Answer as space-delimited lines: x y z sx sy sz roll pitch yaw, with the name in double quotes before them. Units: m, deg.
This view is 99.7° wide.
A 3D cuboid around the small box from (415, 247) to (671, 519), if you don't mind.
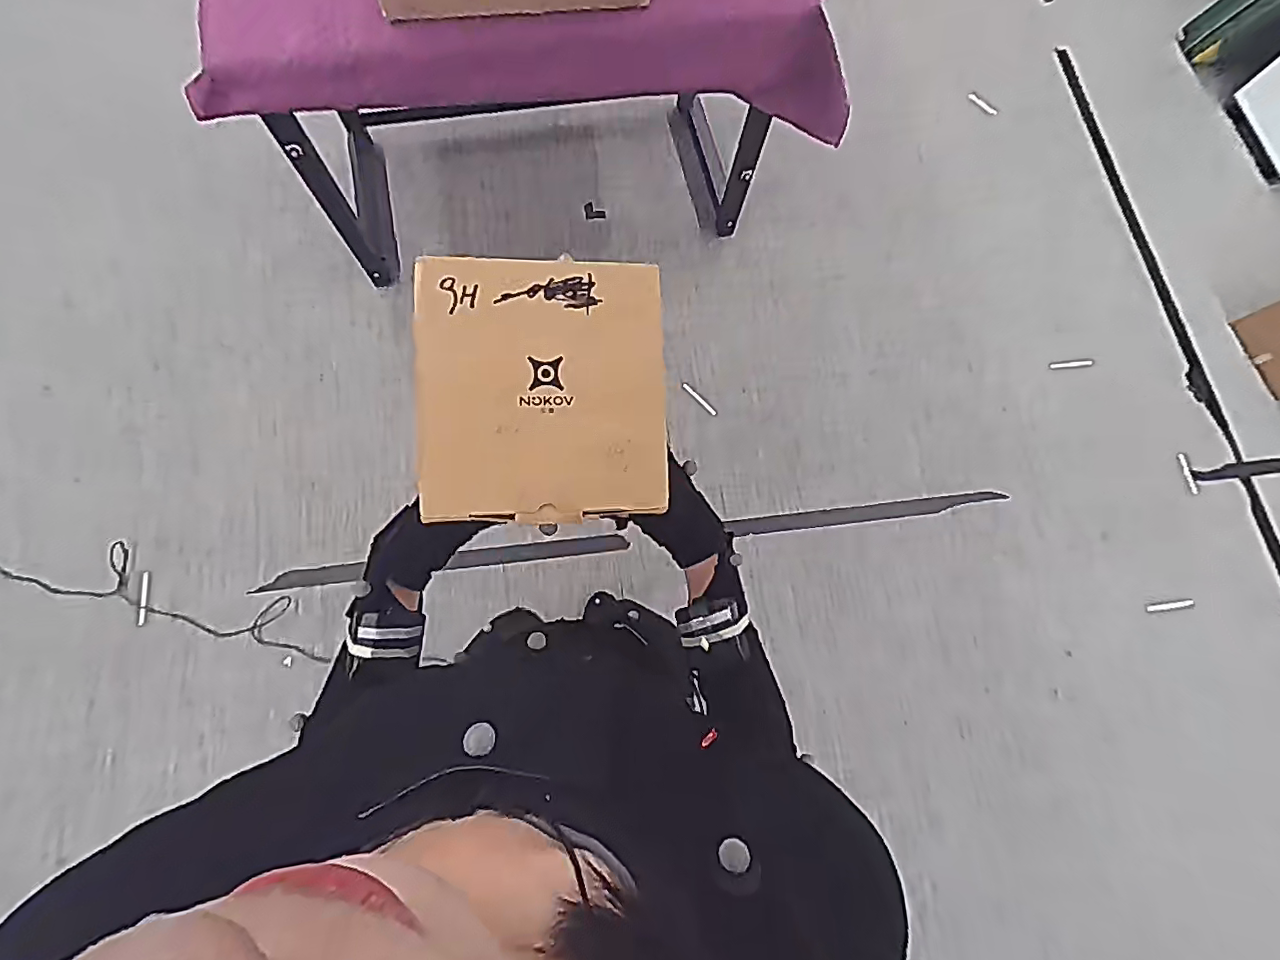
"small box" -0.073 -0.063 0.434 0.168 0.176 0.179 -2 88 -9
